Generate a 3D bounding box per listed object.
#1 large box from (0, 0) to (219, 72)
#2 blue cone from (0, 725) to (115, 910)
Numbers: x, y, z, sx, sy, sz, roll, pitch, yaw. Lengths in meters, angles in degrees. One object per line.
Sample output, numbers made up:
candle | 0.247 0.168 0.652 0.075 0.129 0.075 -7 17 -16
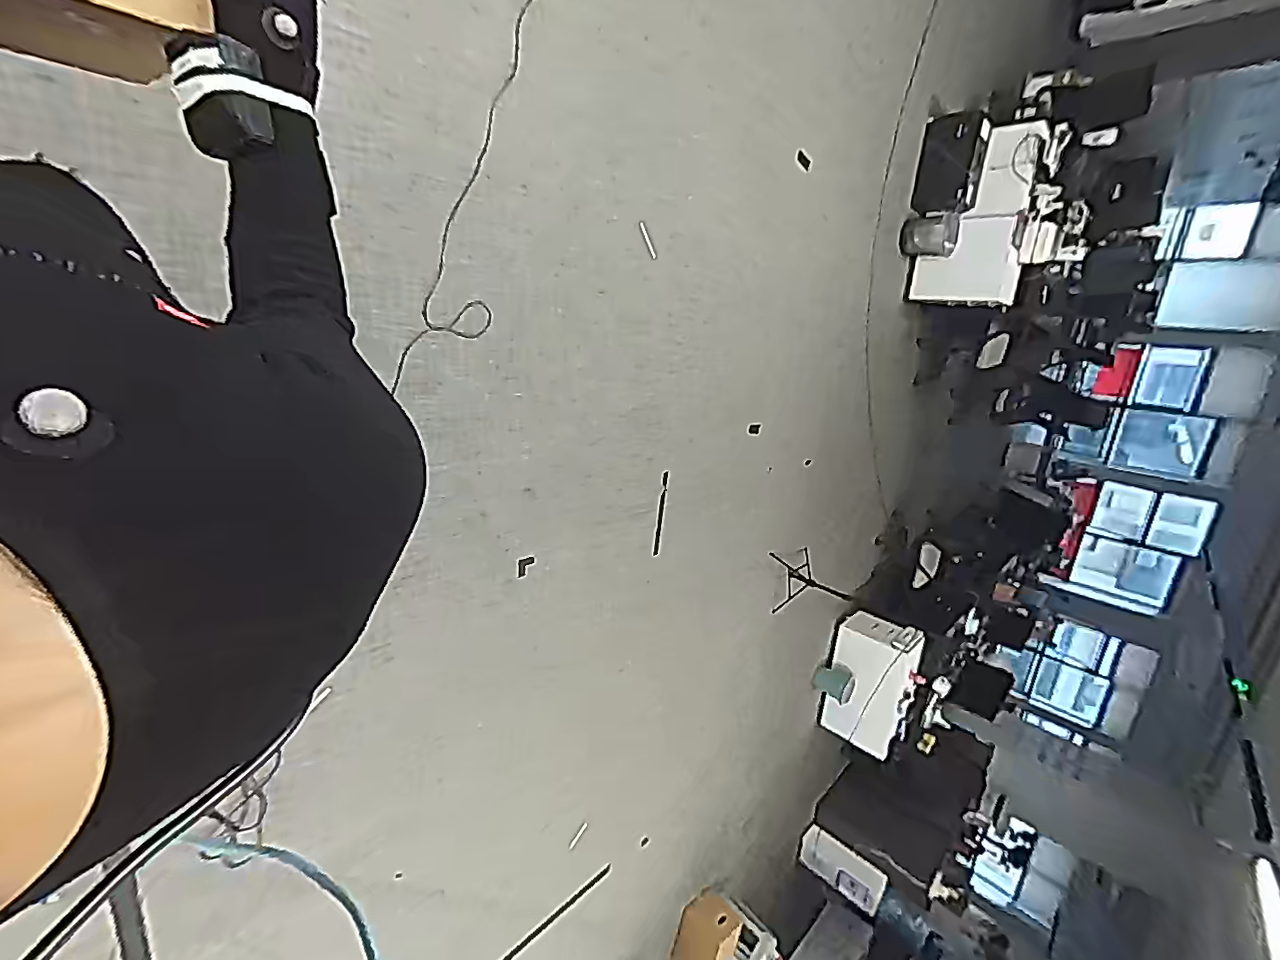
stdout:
large box | -0.528 -0.480 0.284 0.408 0.320 0.320 -15 122 -47
blue cone | -1.145 0.655 1.039 0.193 0.380 0.192 19 90 -48
